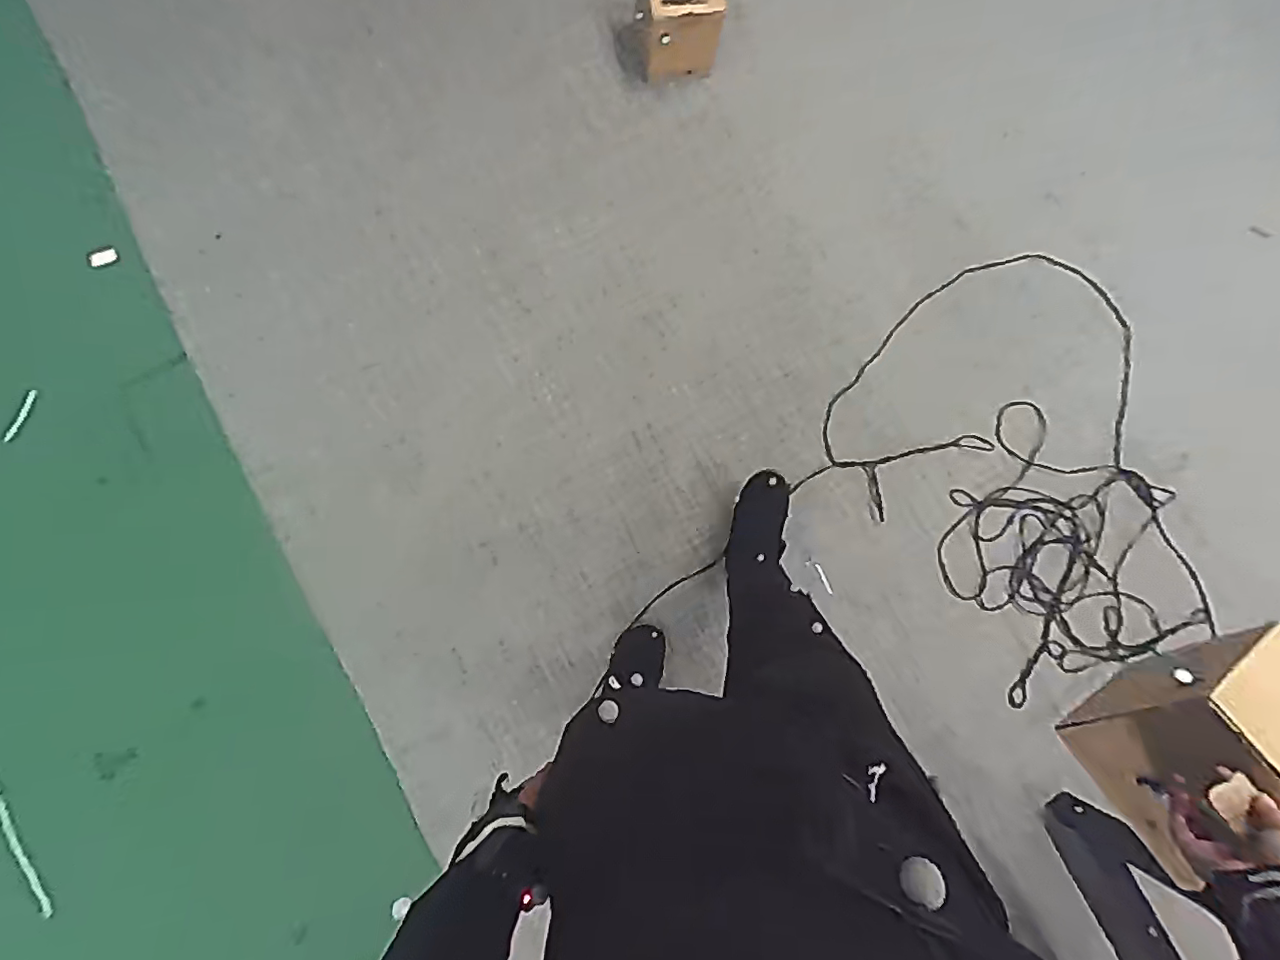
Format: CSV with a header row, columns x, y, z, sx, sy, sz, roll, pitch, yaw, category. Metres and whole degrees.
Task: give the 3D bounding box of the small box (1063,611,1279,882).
x,y,z,sx,sy,sz,roll,pitch,yaw,category
0.583,0.261,0.537,0.179,0.176,0.168,-20,64,-25,small box
